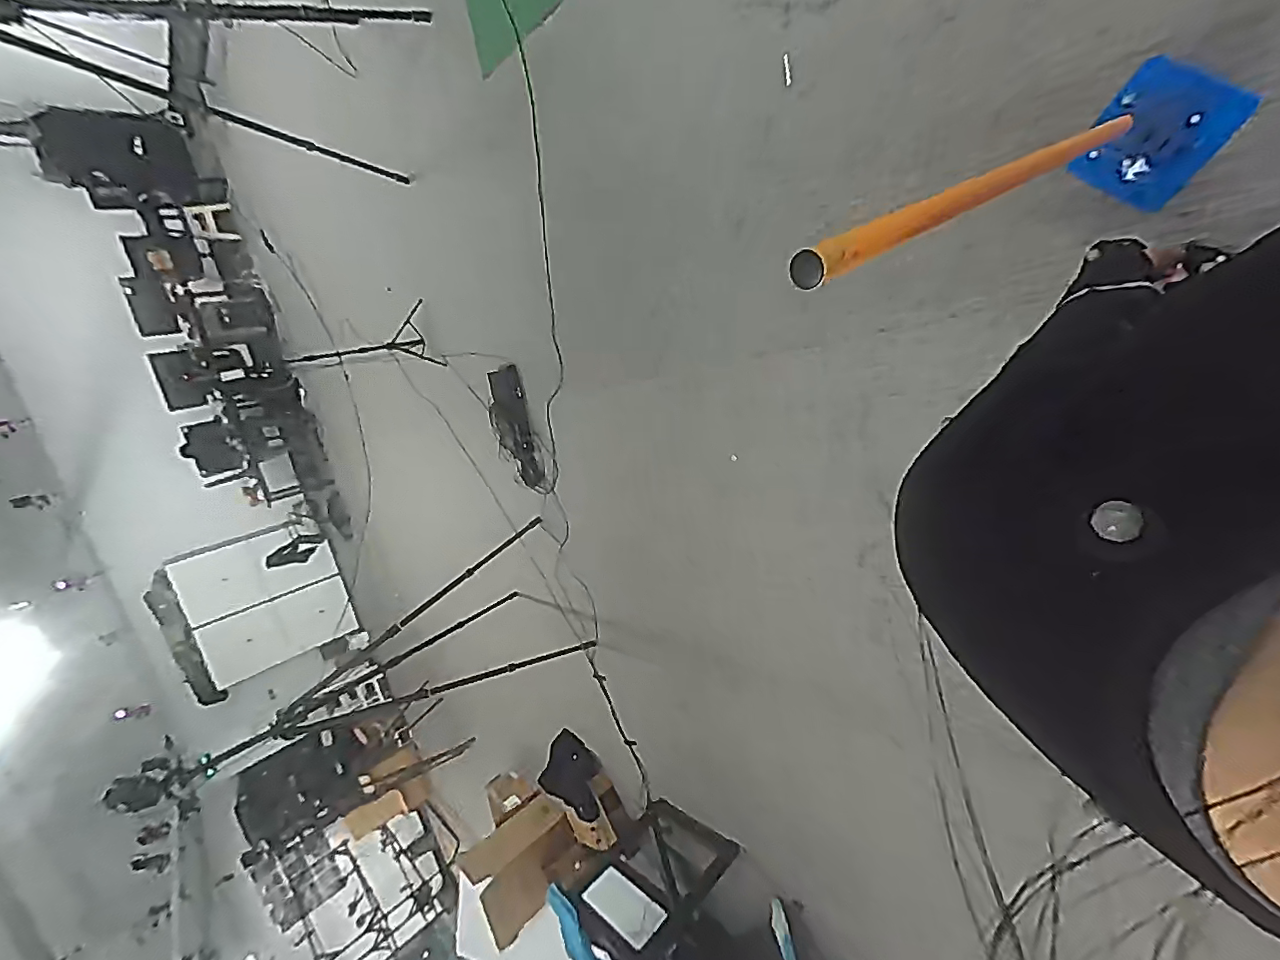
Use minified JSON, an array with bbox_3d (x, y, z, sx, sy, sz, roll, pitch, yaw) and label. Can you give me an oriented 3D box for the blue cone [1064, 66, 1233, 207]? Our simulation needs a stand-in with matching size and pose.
[{"bbox_3d":[0.818,-0.576,0.903,0.192,0.380,0.193,46,138,21],"label":"blue cone"}]
